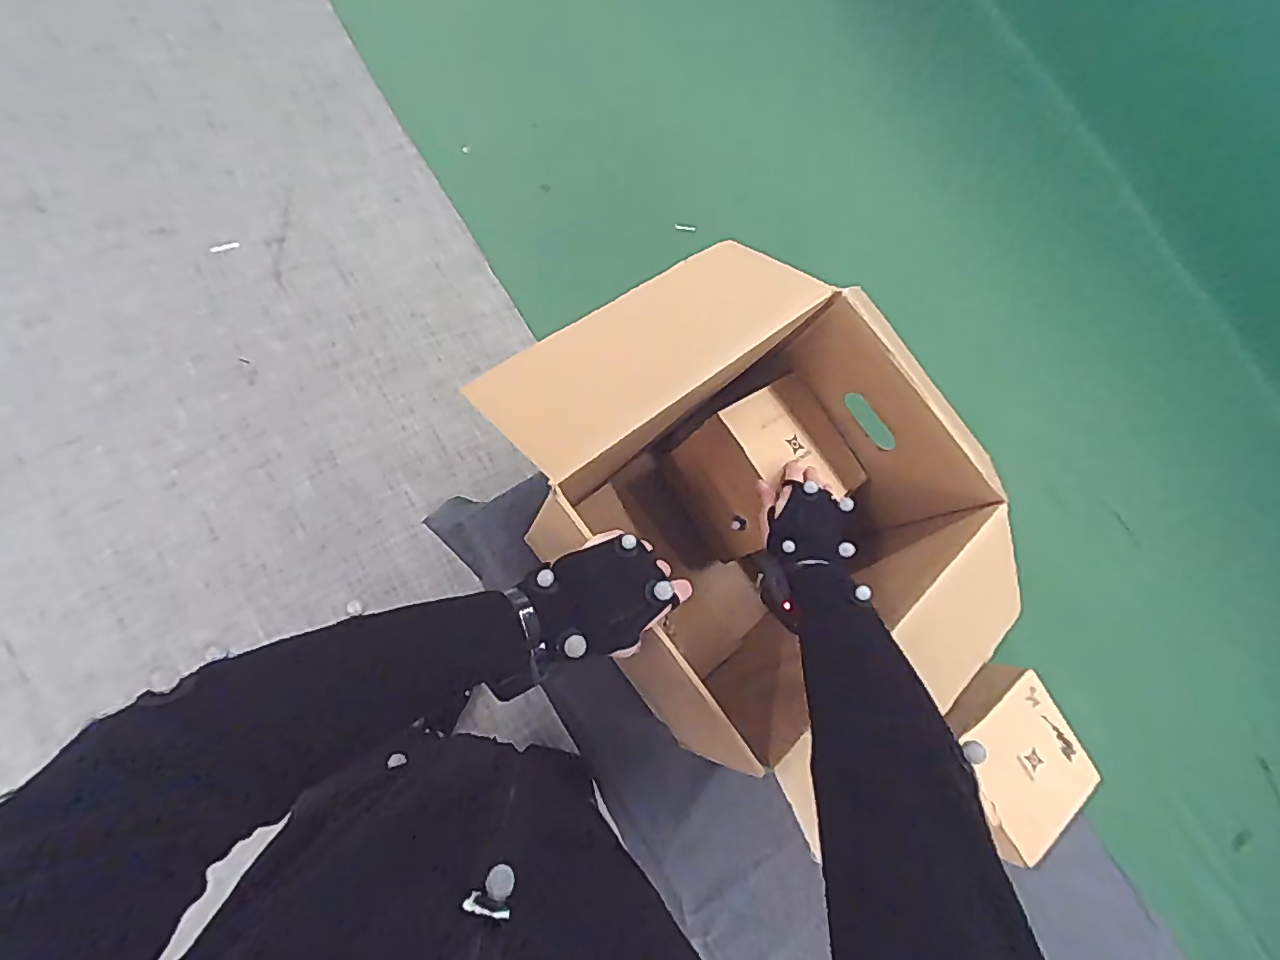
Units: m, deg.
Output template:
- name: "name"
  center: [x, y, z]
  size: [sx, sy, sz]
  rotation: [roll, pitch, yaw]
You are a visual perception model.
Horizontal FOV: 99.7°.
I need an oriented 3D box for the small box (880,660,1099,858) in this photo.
- name: "small box"
  center: [0.475, 0.375, 0.767]
  size: [0.179, 0.176, 0.168]
  rotation: [-27, 85, -20]
